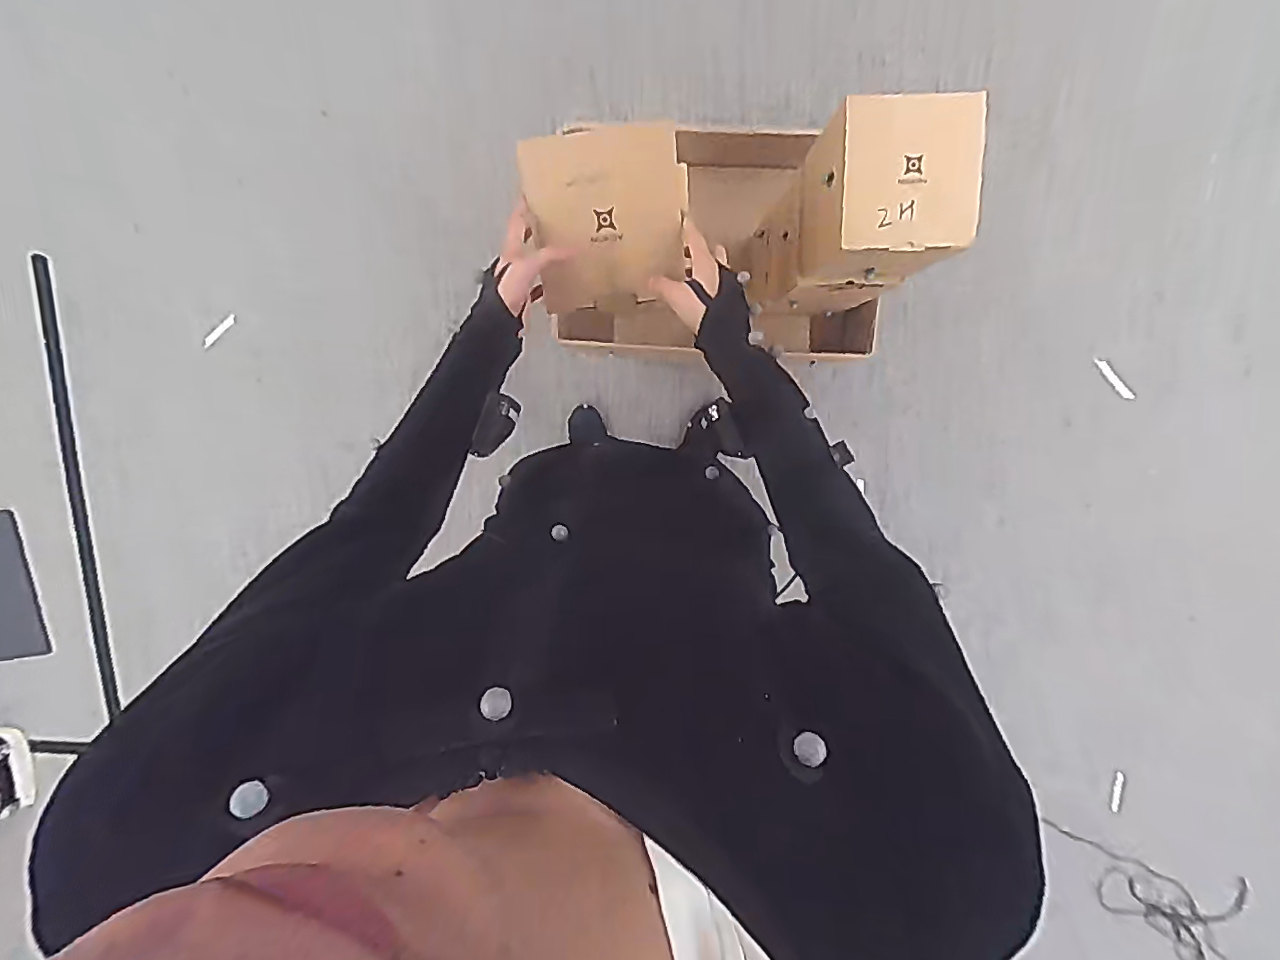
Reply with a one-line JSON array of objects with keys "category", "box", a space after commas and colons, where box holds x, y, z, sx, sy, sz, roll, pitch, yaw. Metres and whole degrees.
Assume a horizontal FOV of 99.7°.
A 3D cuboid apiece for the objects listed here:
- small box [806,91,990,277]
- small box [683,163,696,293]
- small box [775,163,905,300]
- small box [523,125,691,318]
[{"category": "small box", "box": [0.328, -0.381, 0.723, 0.168, 0.176, 0.179, -1, 100, 1]}, {"category": "small box", "box": [0.002, -0.397, 0.899, 0.168, 0.176, 0.179, -4, 101, 3]}, {"category": "small box", "box": [0.323, -0.396, 0.887, 0.168, 0.176, 0.179, -1, 99, 1]}, {"category": "small box", "box": [-0.026, -0.307, 0.654, 0.168, 0.176, 0.179, -5, 116, 6]}]
